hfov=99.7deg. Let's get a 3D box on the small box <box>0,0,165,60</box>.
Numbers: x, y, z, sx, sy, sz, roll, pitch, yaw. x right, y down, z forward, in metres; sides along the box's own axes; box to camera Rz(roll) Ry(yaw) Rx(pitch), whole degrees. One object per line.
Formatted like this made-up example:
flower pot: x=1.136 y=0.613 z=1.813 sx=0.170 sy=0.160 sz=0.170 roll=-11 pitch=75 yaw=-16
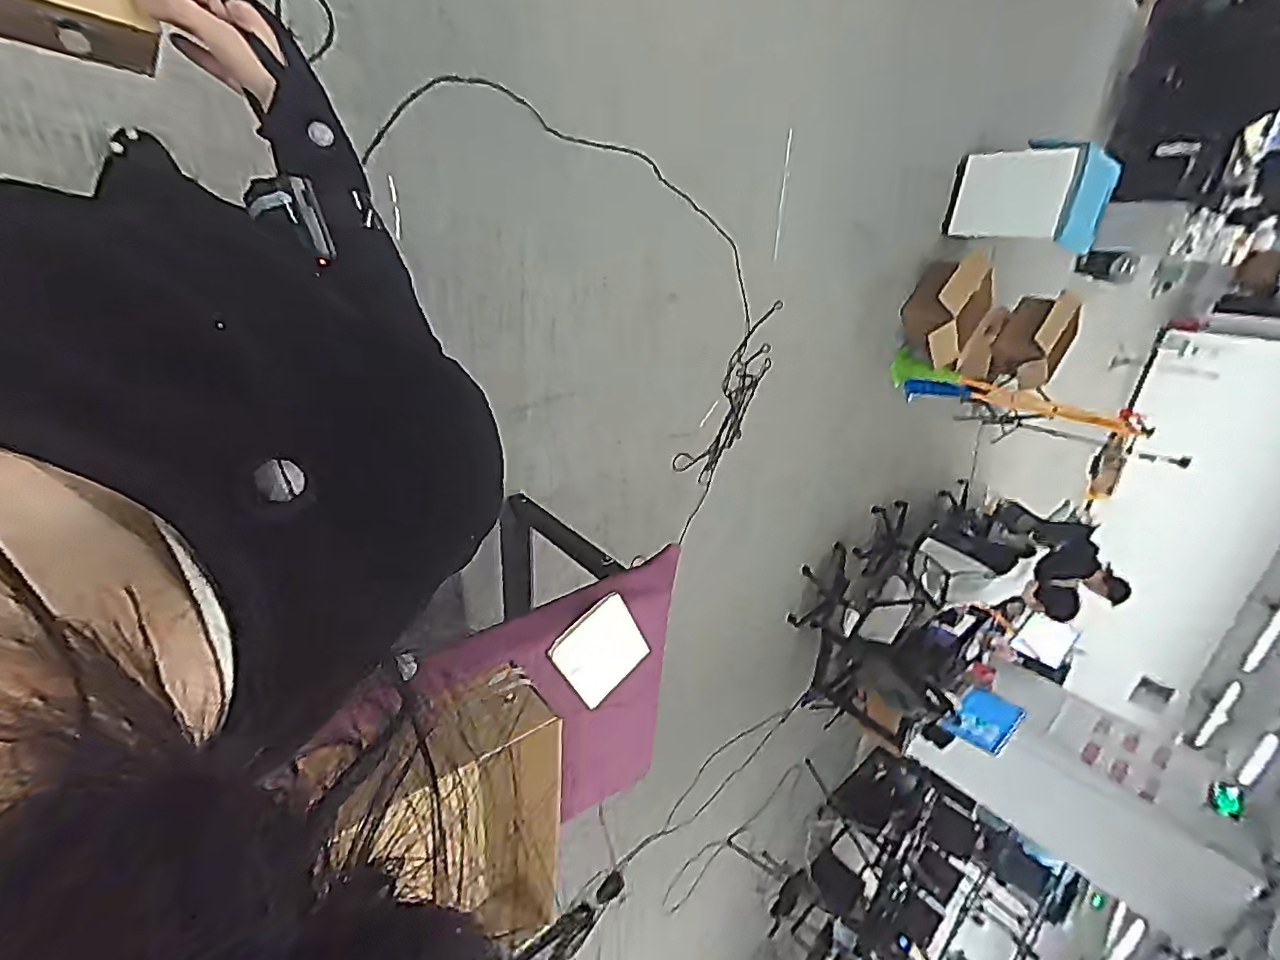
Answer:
small box: x=-0.422 y=-0.392 z=0.332 sx=0.179 sy=0.176 sz=0.168 roll=-9 pitch=115 yaw=-40
